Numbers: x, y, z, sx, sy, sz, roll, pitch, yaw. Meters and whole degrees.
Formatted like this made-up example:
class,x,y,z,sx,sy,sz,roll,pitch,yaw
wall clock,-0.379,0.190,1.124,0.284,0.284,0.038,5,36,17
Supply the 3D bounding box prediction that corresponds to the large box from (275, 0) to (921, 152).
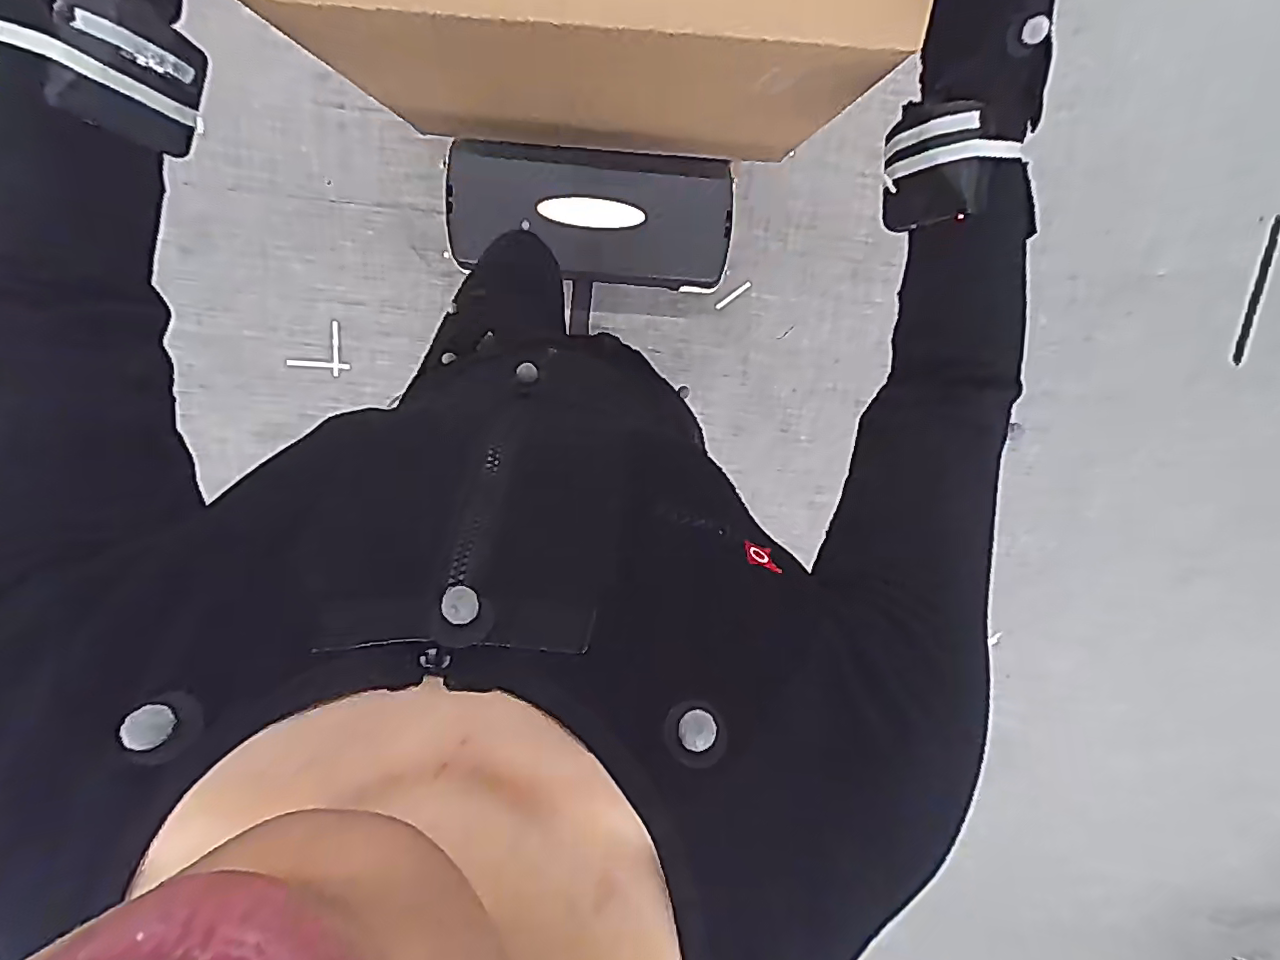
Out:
class,x,y,z,sx,sy,sz,roll,pitch,yaw
large box,-0.028,-0.471,0.416,0.408,0.320,0.320,2,110,-3
